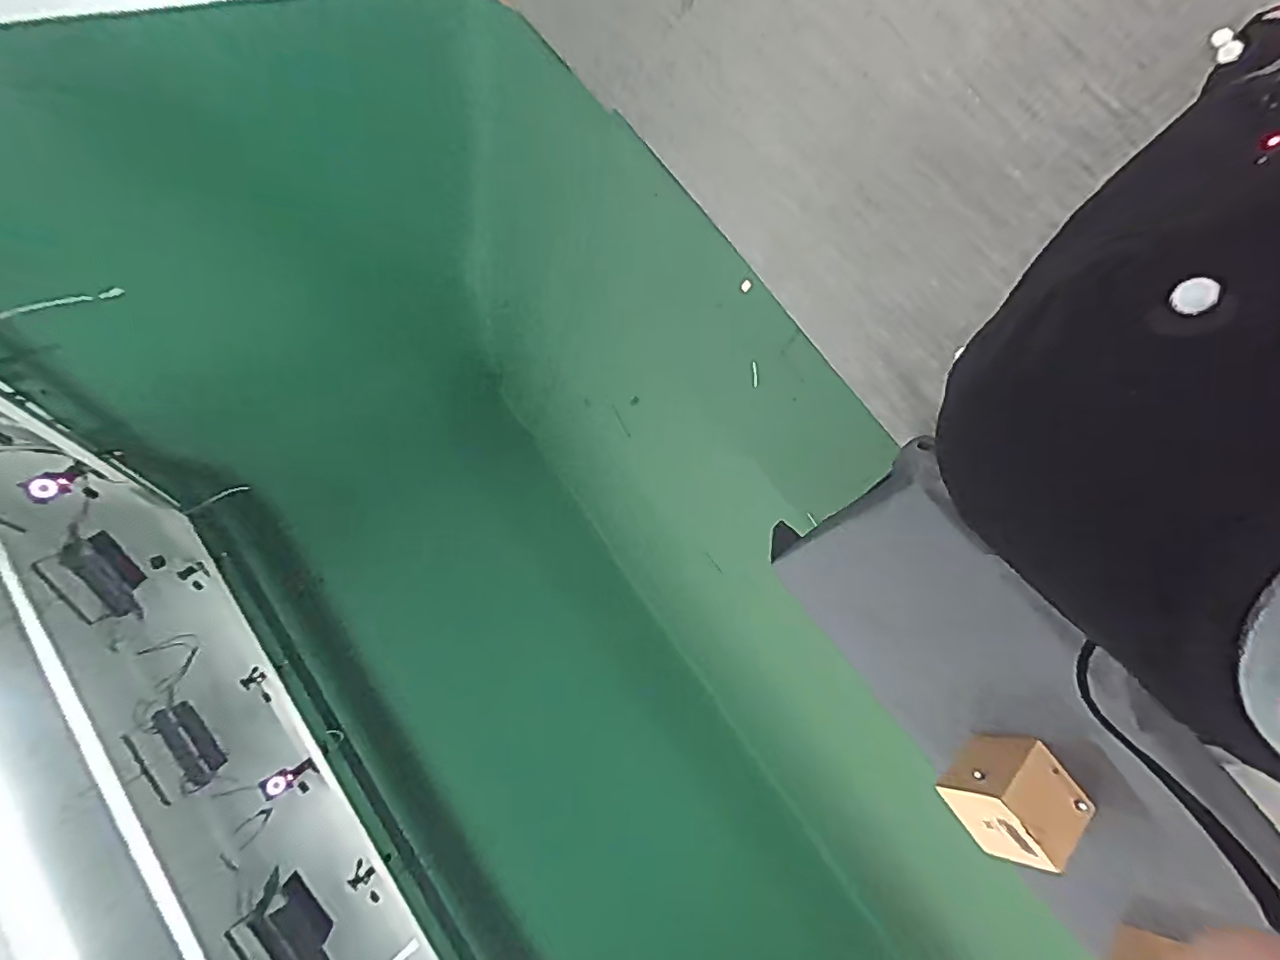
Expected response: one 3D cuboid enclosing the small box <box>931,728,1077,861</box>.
[{"bbox_3d":[0.777,0.653,1.150,0.168,0.176,0.179,53,155,8],"label":"small box"}]
